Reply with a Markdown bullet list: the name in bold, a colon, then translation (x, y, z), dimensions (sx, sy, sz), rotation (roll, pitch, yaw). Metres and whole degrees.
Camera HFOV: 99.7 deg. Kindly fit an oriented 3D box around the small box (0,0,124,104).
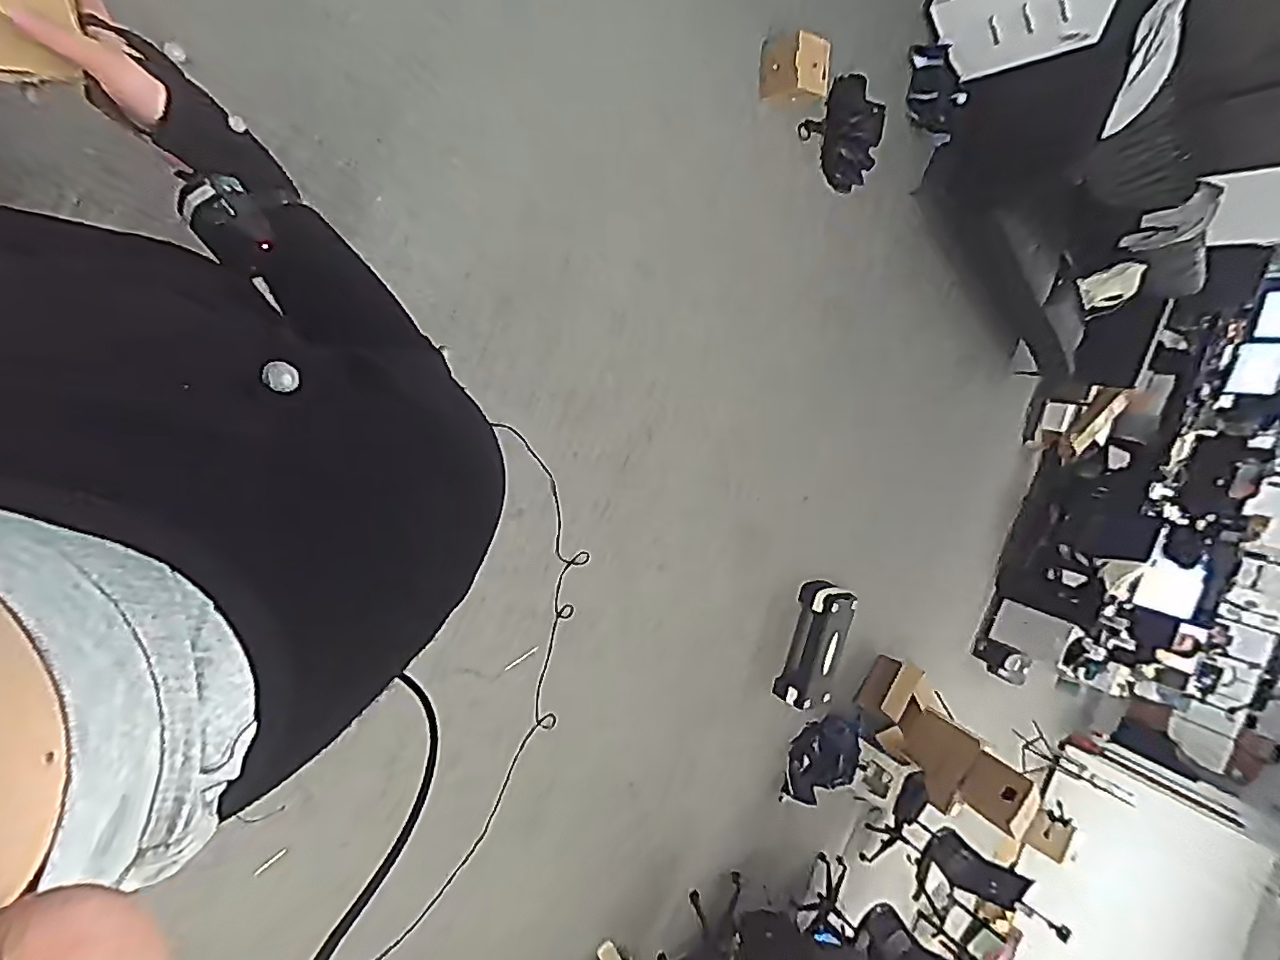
- **small box**: translation (-0.490, -0.367, 0.363), dimensions (0.168, 0.176, 0.179), rotation (-17, 128, -31)
